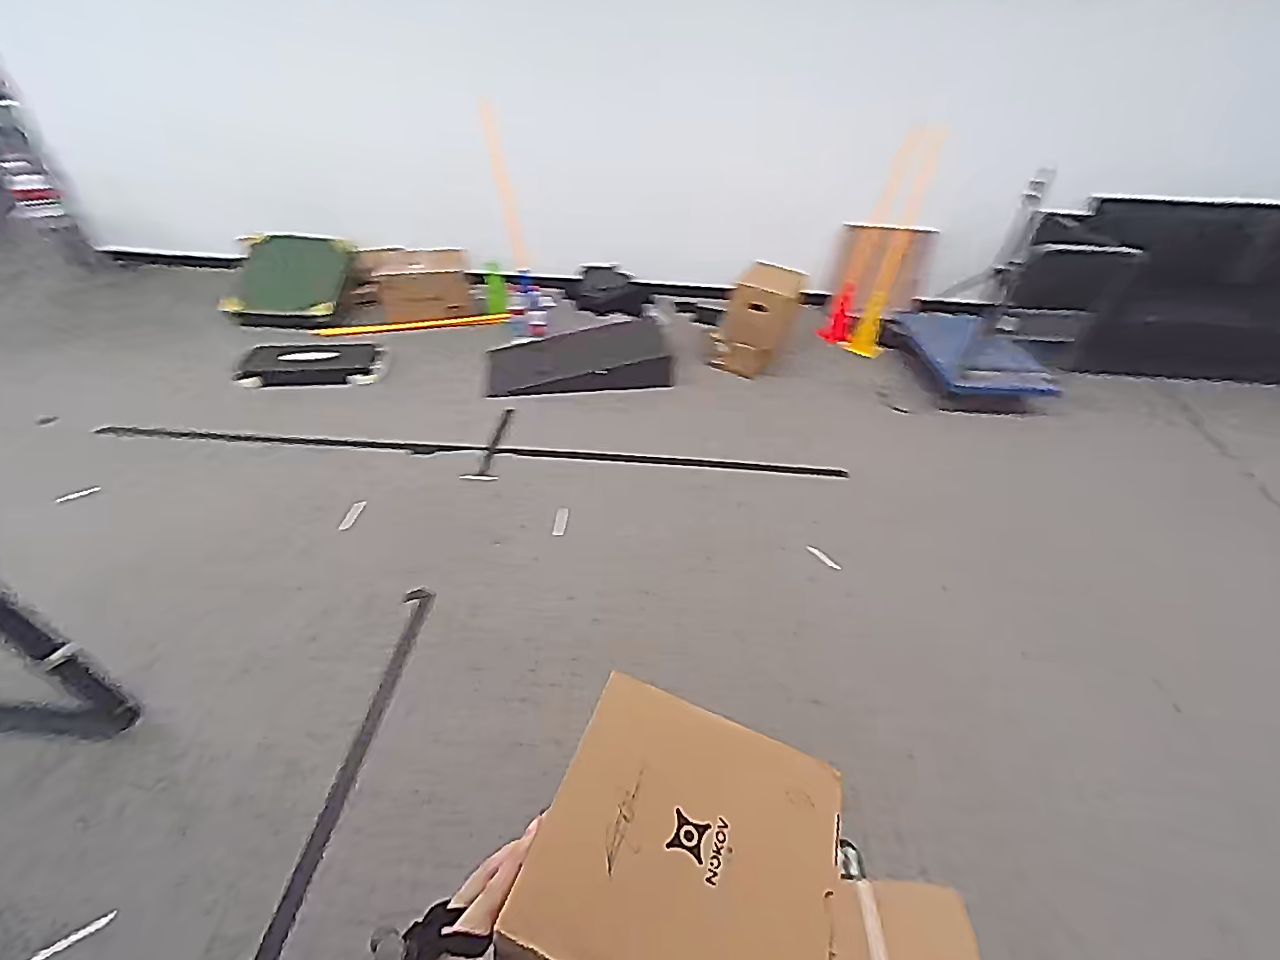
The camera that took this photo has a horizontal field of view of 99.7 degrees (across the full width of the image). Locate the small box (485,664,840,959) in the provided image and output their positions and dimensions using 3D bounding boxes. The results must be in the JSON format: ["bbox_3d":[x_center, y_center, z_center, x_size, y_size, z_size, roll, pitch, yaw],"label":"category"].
[{"bbox_3d":[0.014,0.268,0.369,0.179,0.176,0.168,20,38,10],"label":"small box"}]
